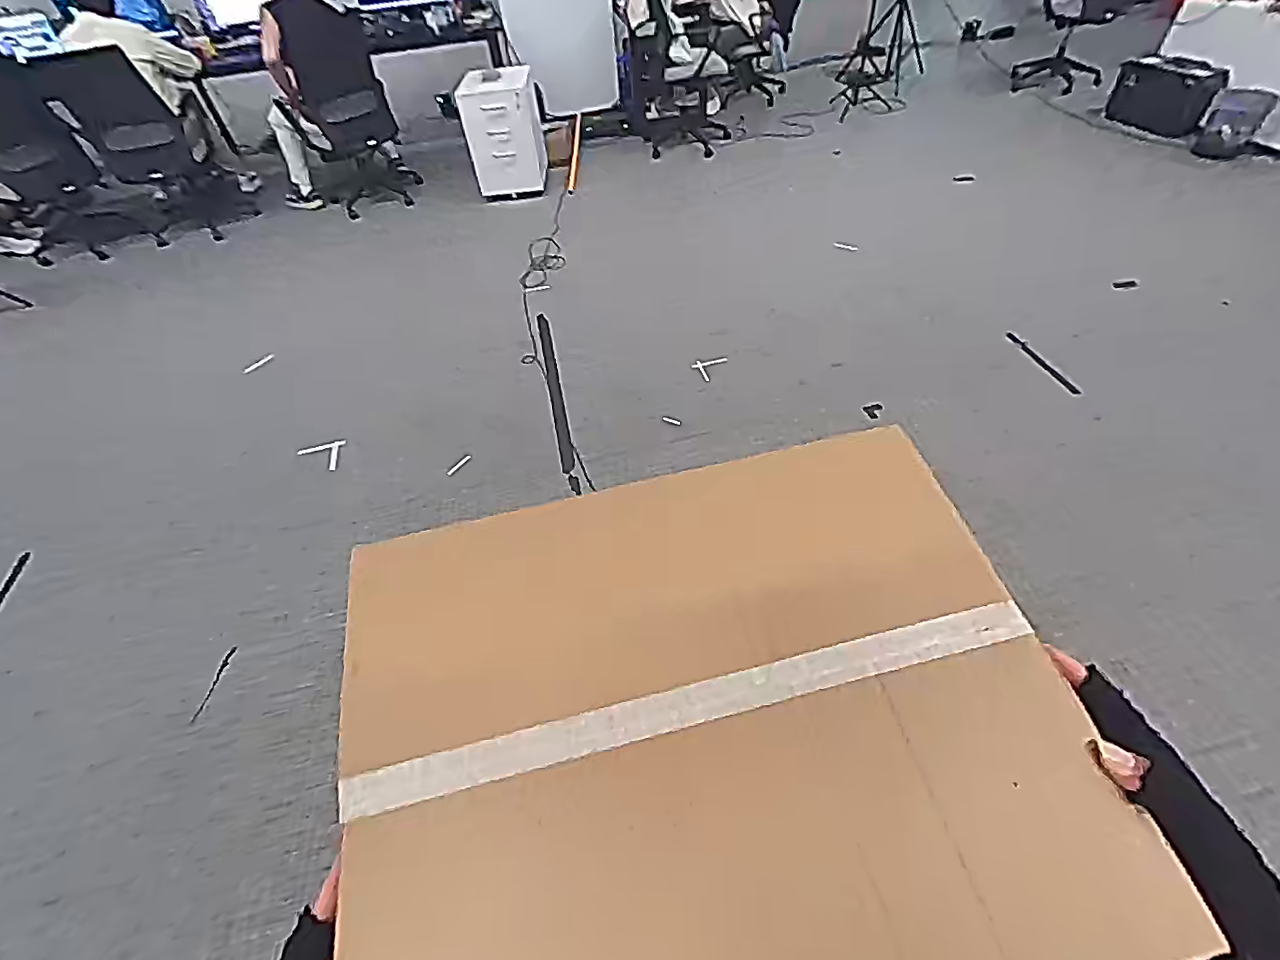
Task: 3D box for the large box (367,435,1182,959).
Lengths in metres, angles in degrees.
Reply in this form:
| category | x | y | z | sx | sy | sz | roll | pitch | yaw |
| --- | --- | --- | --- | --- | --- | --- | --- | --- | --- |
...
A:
| category | x | y | z | sx | sy | sz | roll | pitch | yaw |
| --- | --- | --- | --- | --- | --- | --- | --- | --- | --- |
| large box | 0.046 | 0.214 | 0.449 | 0.408 | 0.320 | 0.320 | -13 | 59 | -4 |
